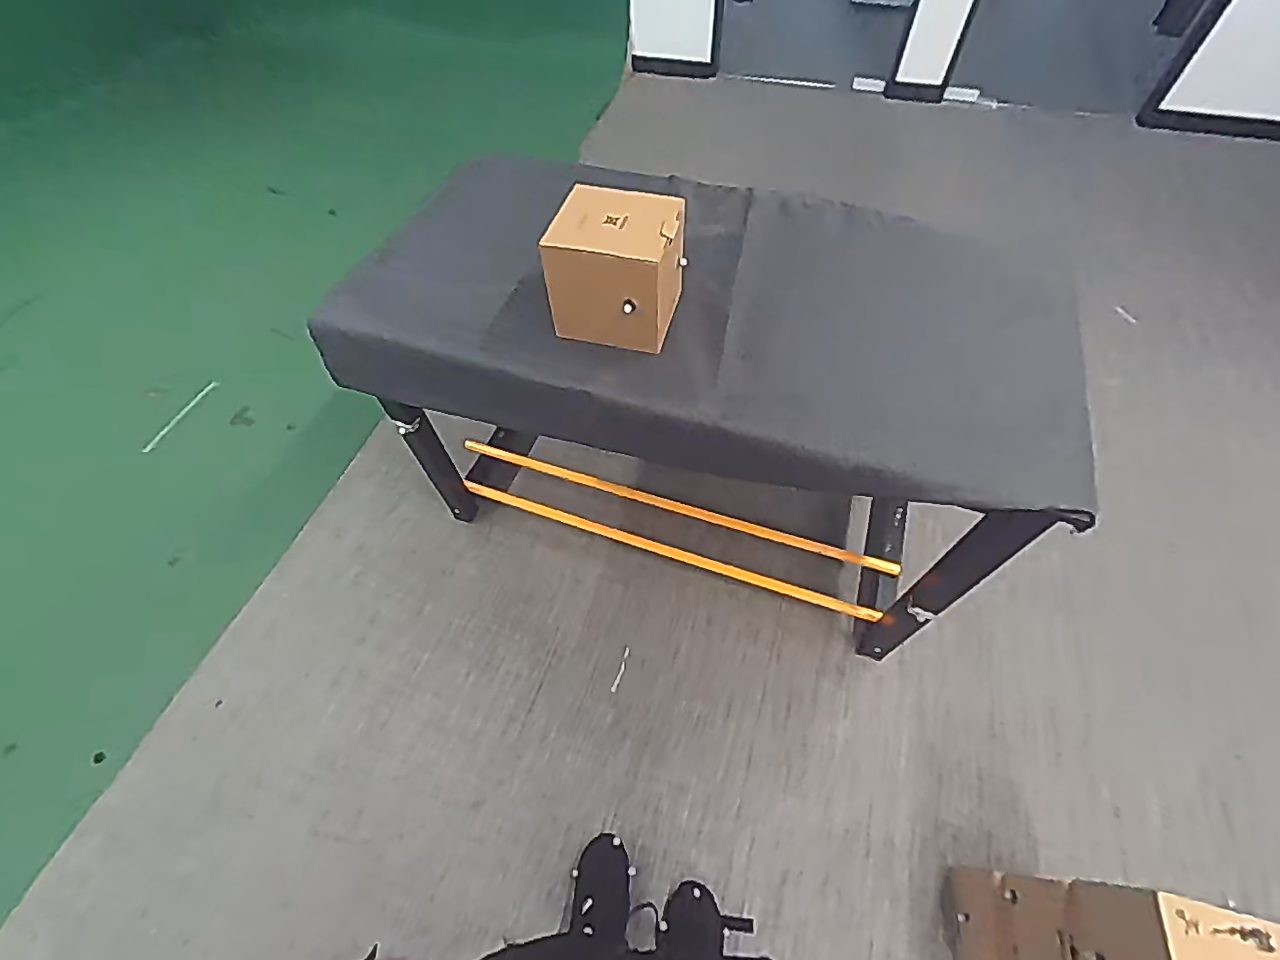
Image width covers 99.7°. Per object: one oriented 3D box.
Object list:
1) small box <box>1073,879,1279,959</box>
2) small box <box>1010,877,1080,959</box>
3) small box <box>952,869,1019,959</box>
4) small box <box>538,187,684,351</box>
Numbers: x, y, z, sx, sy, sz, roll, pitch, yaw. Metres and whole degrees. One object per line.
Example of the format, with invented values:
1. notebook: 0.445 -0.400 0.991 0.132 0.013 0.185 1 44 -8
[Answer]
1. small box: 0.687 0.630 0.672 0.168 0.176 0.179 12 59 9
2. small box: 0.687 0.718 0.809 0.179 0.176 0.168 12 59 8
3. small box: 0.680 0.804 0.950 0.179 0.176 0.168 10 57 9
4. small box: -0.036 -0.324 0.845 0.179 0.176 0.168 11 57 10
